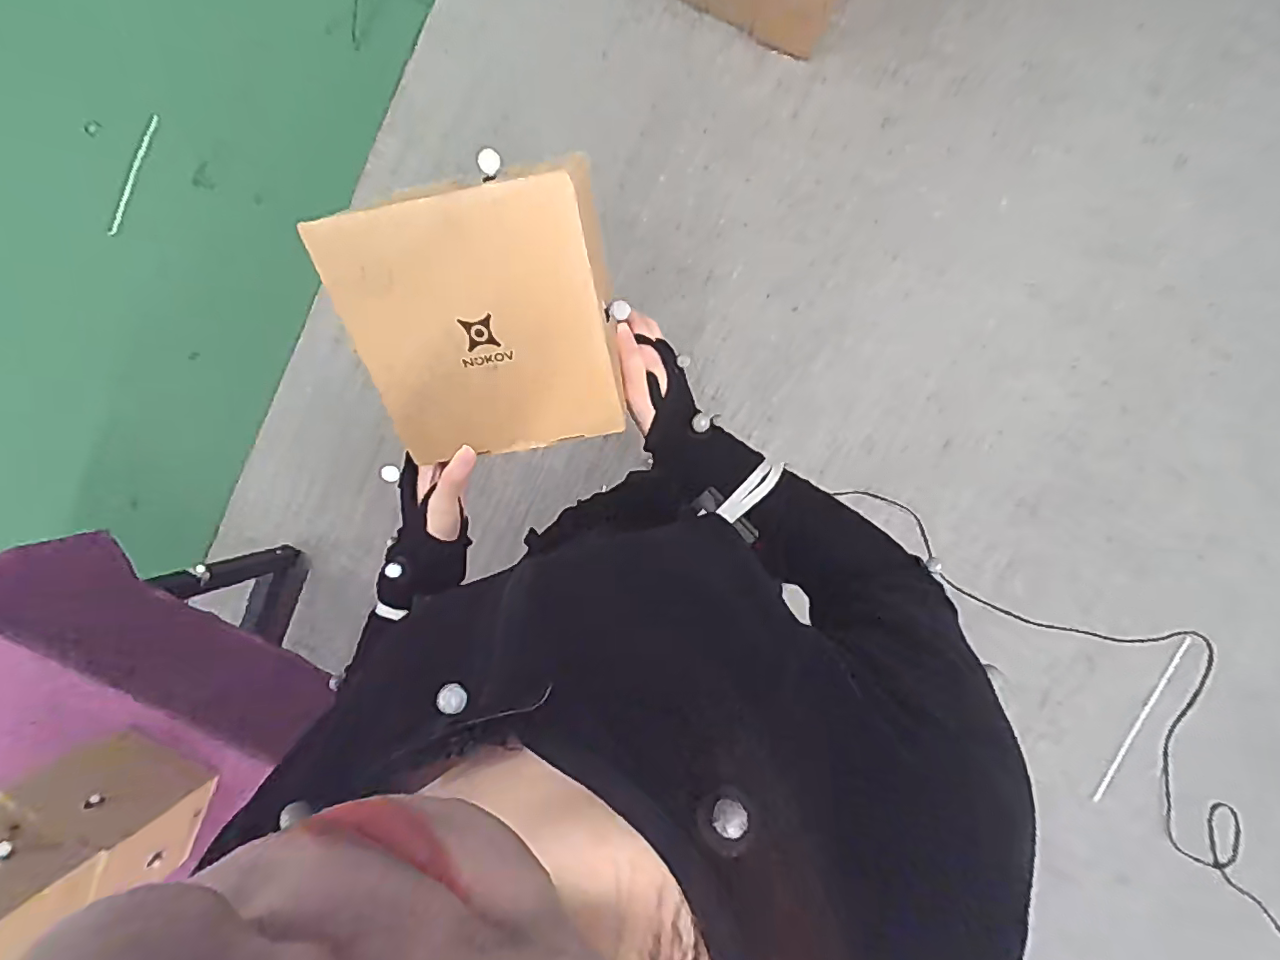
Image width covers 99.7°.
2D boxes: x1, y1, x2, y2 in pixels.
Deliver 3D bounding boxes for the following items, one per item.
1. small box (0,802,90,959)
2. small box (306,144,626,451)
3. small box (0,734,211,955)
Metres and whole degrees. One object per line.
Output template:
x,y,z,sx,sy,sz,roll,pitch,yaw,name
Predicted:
-0.795,0.519,0.612,0.168,0.176,0.179,22,94,3,small box
-0.107,-0.149,0.422,0.168,0.176,0.179,-9,126,4,small box
-0.777,0.502,0.775,0.179,0.176,0.168,25,95,4,small box
